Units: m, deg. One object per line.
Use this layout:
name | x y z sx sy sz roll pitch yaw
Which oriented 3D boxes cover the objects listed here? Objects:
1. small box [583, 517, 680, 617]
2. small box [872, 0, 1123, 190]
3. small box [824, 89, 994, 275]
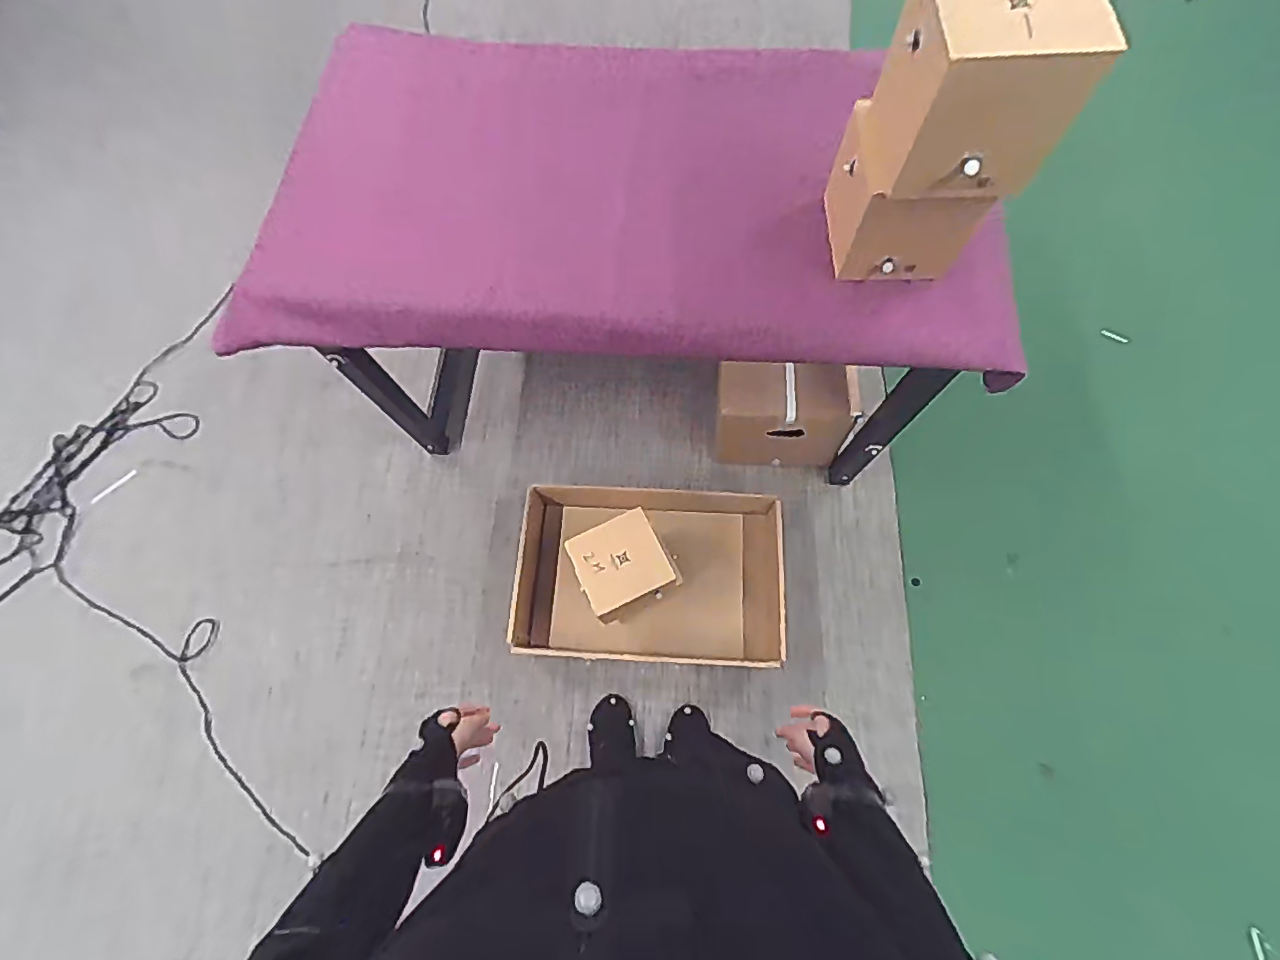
small box | -0.015 0.215 1.292 0.179 0.176 0.168 -26 72 -6
small box | 0.380 -0.465 0.617 0.168 0.176 0.179 0 70 4
small box | 0.372 -0.421 0.777 0.168 0.176 0.179 0 70 4
